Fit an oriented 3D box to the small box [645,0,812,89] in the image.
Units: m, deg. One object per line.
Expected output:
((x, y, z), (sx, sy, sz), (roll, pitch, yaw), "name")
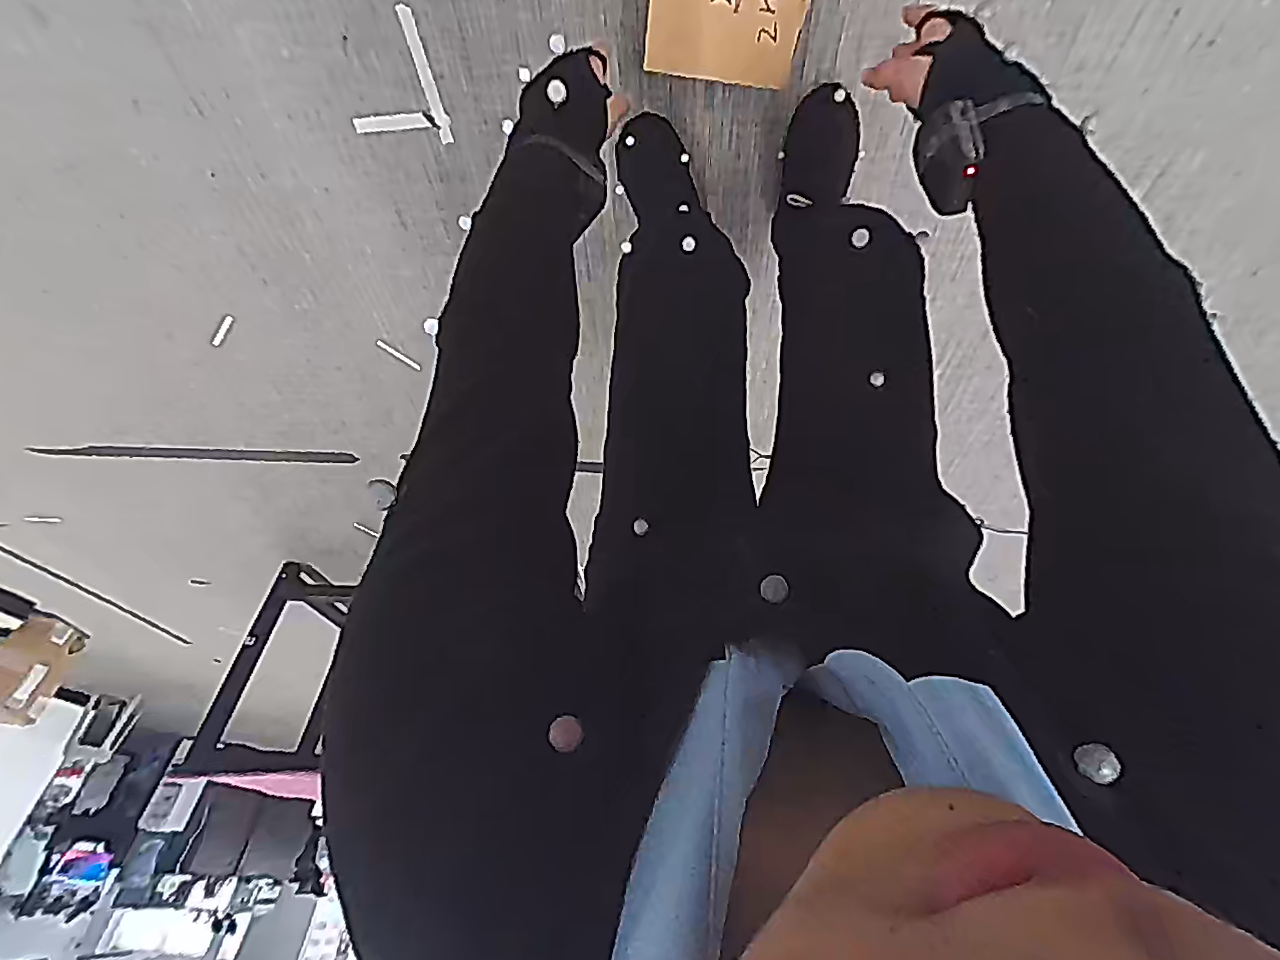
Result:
((0.107, -0.591, 0.629), (0.179, 0.176, 0.168), (7, 143, -2), "small box")
